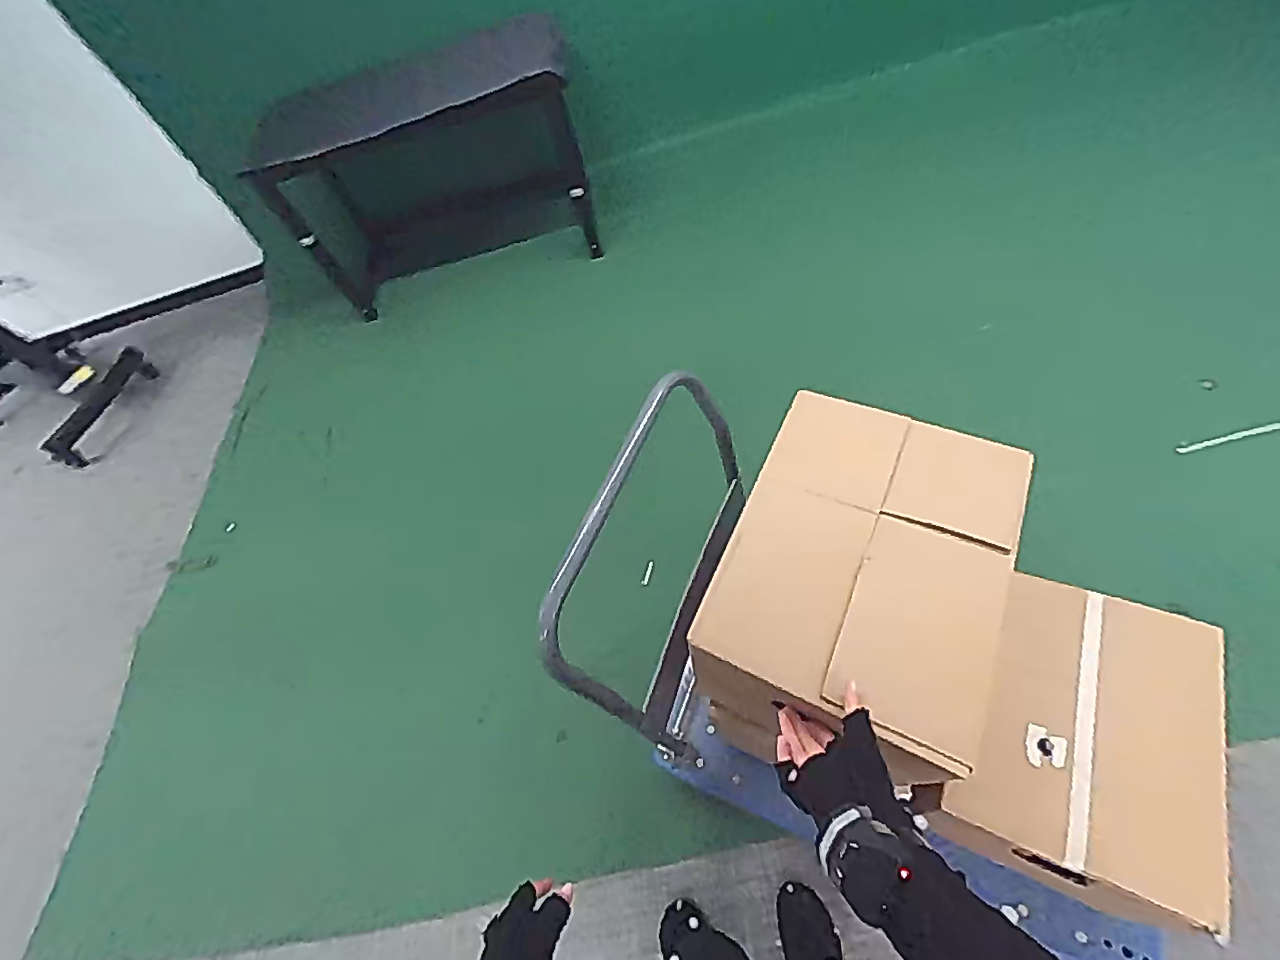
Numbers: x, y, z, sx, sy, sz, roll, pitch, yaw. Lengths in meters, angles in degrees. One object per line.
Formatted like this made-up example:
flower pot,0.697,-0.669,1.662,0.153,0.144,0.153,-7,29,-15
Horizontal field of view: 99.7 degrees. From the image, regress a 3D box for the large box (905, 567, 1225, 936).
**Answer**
large box,0.670,0.420,0.902,0.320,0.320,0.408,16,63,25
